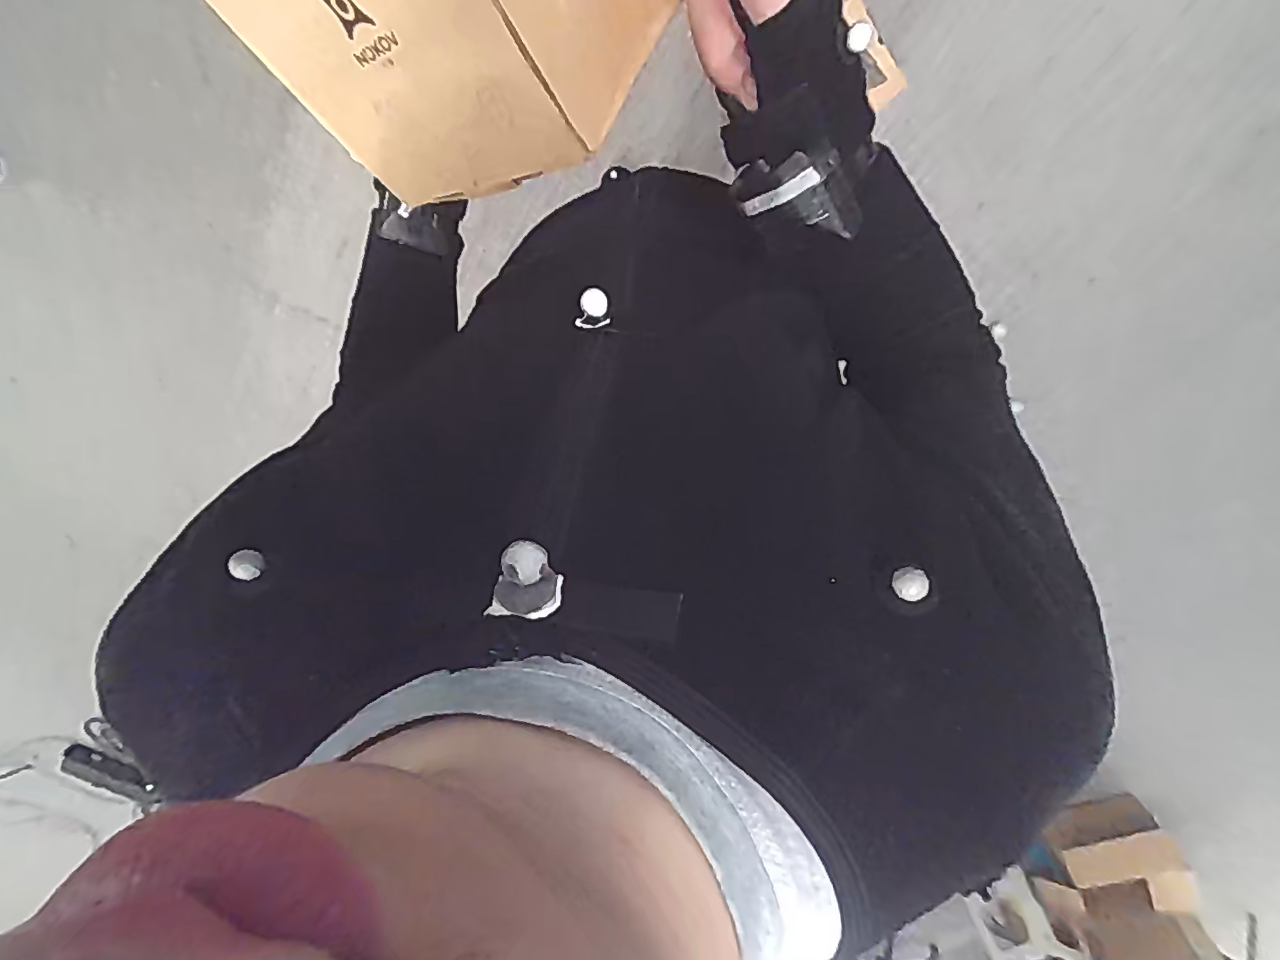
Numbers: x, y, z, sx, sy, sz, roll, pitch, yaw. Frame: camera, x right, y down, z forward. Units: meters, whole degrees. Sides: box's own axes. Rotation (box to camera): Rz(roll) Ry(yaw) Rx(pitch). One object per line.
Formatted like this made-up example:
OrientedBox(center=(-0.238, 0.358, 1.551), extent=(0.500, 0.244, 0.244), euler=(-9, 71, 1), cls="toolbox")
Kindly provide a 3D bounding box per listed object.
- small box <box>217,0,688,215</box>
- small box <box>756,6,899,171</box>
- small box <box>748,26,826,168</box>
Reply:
OrientedBox(center=(-0.090, -0.277, 0.279), extent=(0.168, 0.176, 0.179), euler=(10, 159, 35), cls="small box")
OrientedBox(center=(0.335, -0.708, 0.999), extent=(0.179, 0.176, 0.168), euler=(-36, 111, 23), cls="small box")
OrientedBox(center=(0.345, -0.794, 1.139), extent=(0.179, 0.176, 0.168), euler=(-37, 111, 25), cls="small box")
